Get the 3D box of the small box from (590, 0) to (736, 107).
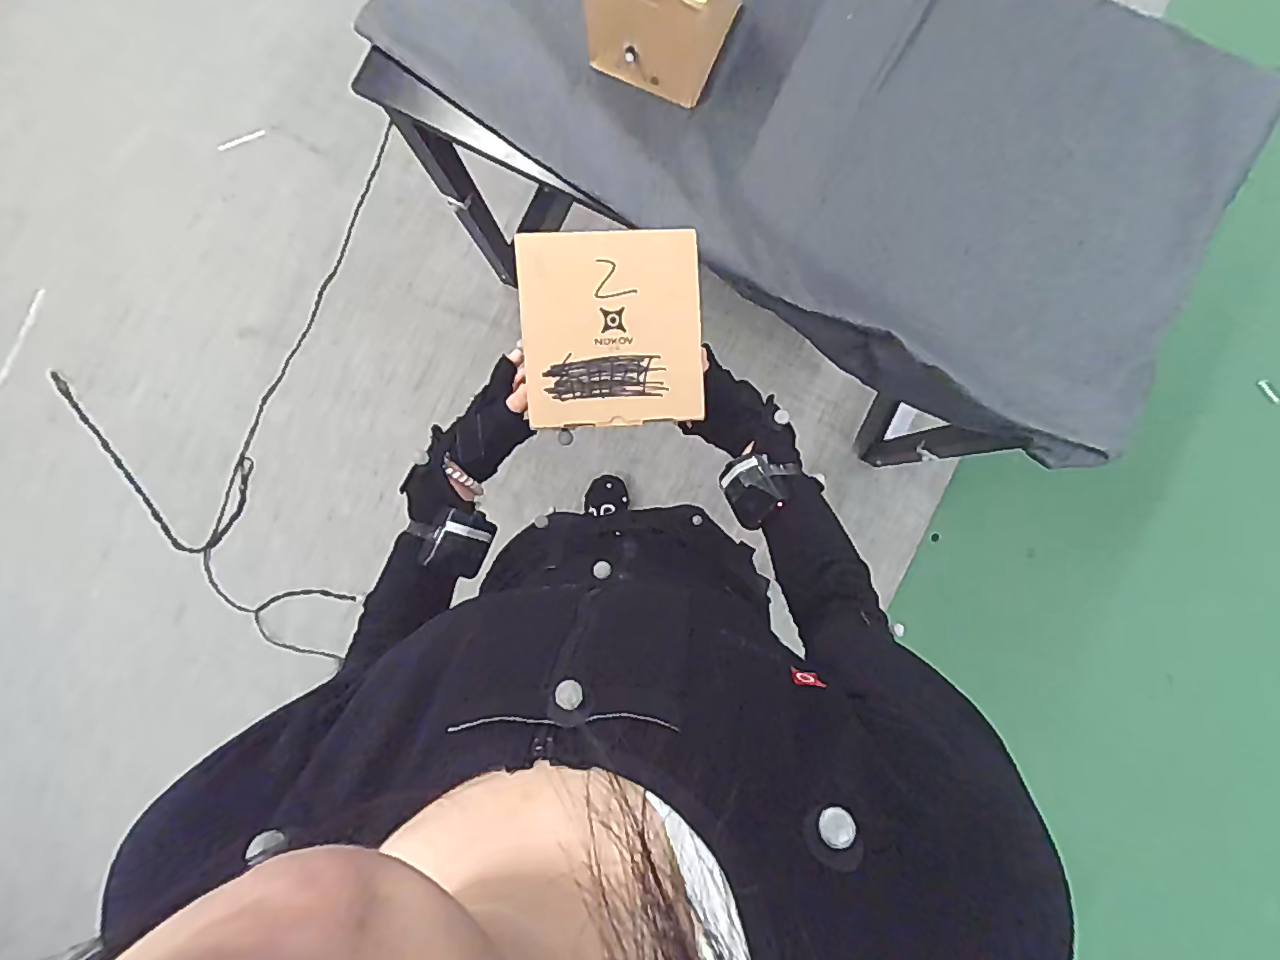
[{"bbox_3d":[0.036,-0.657,0.718,0.168,0.176,0.179,24,89,0],"label":"small box"}]
